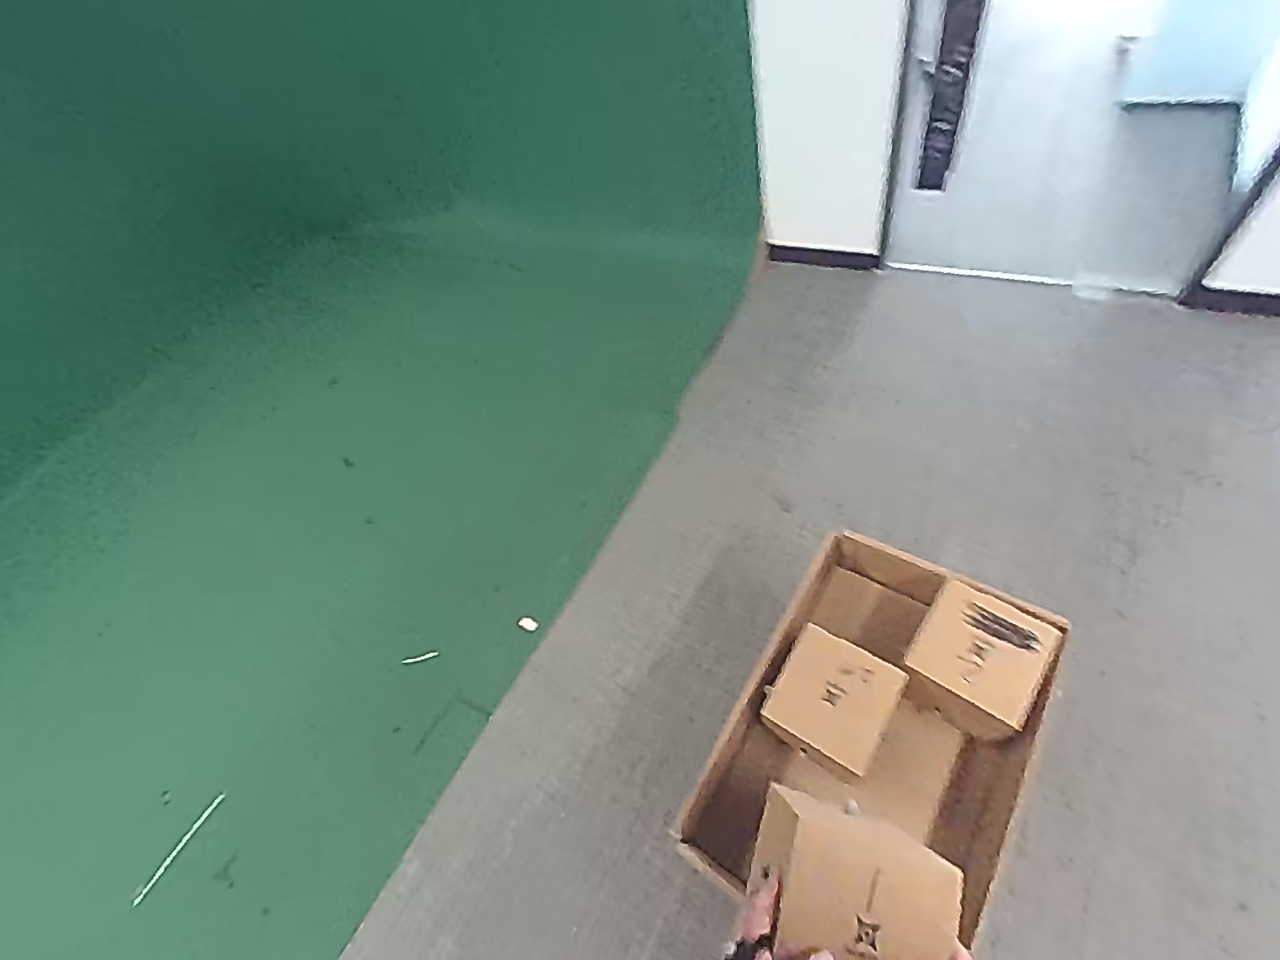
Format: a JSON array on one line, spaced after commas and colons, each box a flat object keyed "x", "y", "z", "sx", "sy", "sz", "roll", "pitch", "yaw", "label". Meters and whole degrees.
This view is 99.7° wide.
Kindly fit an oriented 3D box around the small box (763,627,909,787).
[{"x": 0.325, "y": 0.385, "z": 0.908, "sx": 0.168, "sy": 0.176, "sz": 0.179, "roll": 26, "pitch": 67, "yaw": 29, "label": "small box"}]

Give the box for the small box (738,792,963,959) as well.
[{"x": 0.210, "y": 0.469, "z": 0.580, "sx": 0.168, "sy": 0.176, "sz": 0.179, "roll": 17, "pitch": 72, "yaw": 7, "label": "small box"}]
